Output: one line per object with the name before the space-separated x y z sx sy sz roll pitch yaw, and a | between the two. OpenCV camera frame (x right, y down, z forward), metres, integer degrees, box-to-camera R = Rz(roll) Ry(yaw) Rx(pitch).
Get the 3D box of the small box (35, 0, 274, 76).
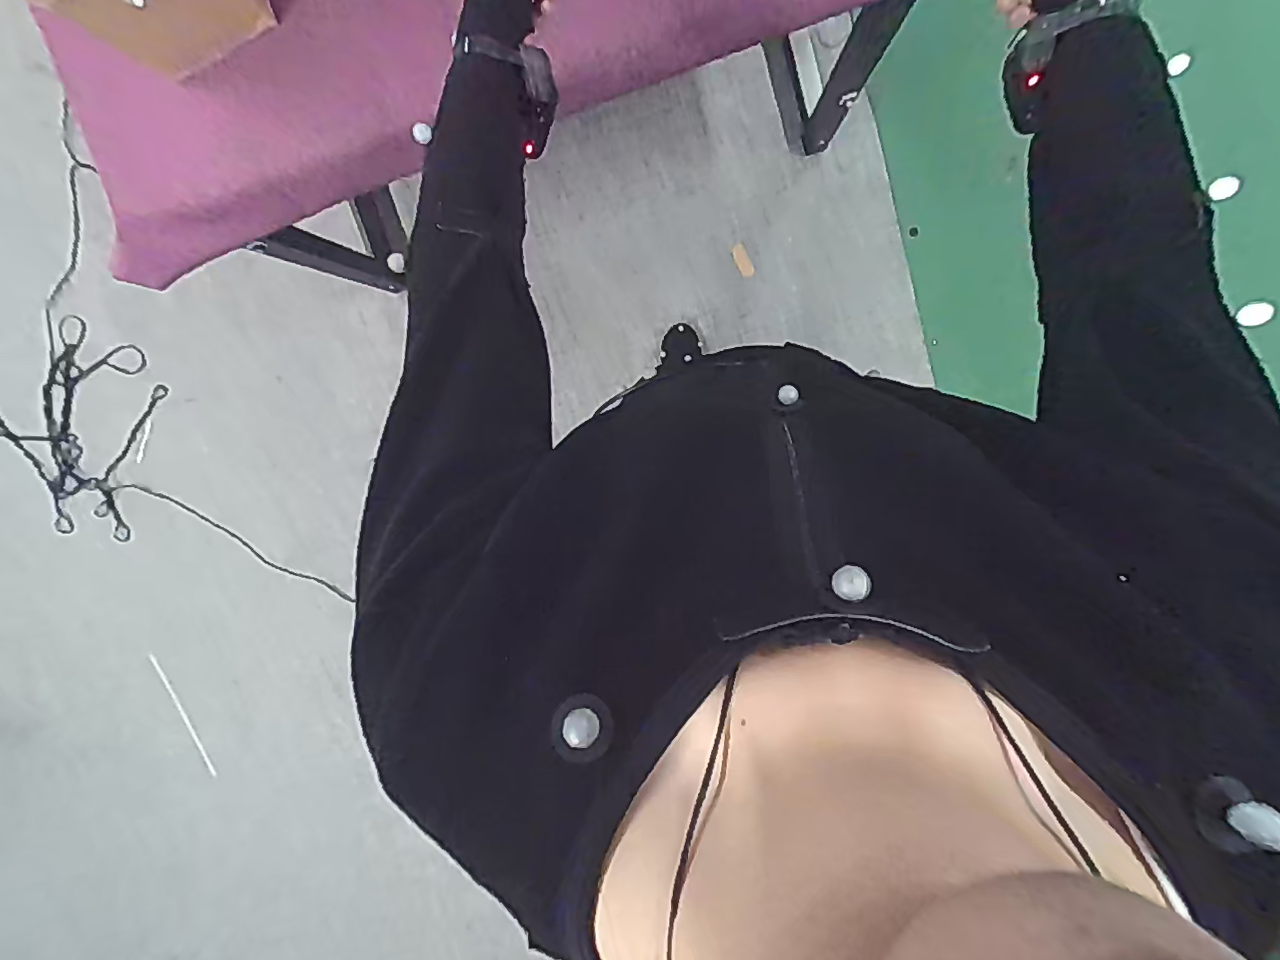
small box | -0.584 -0.622 0.626 0.179 0.176 0.168 -21 99 7
